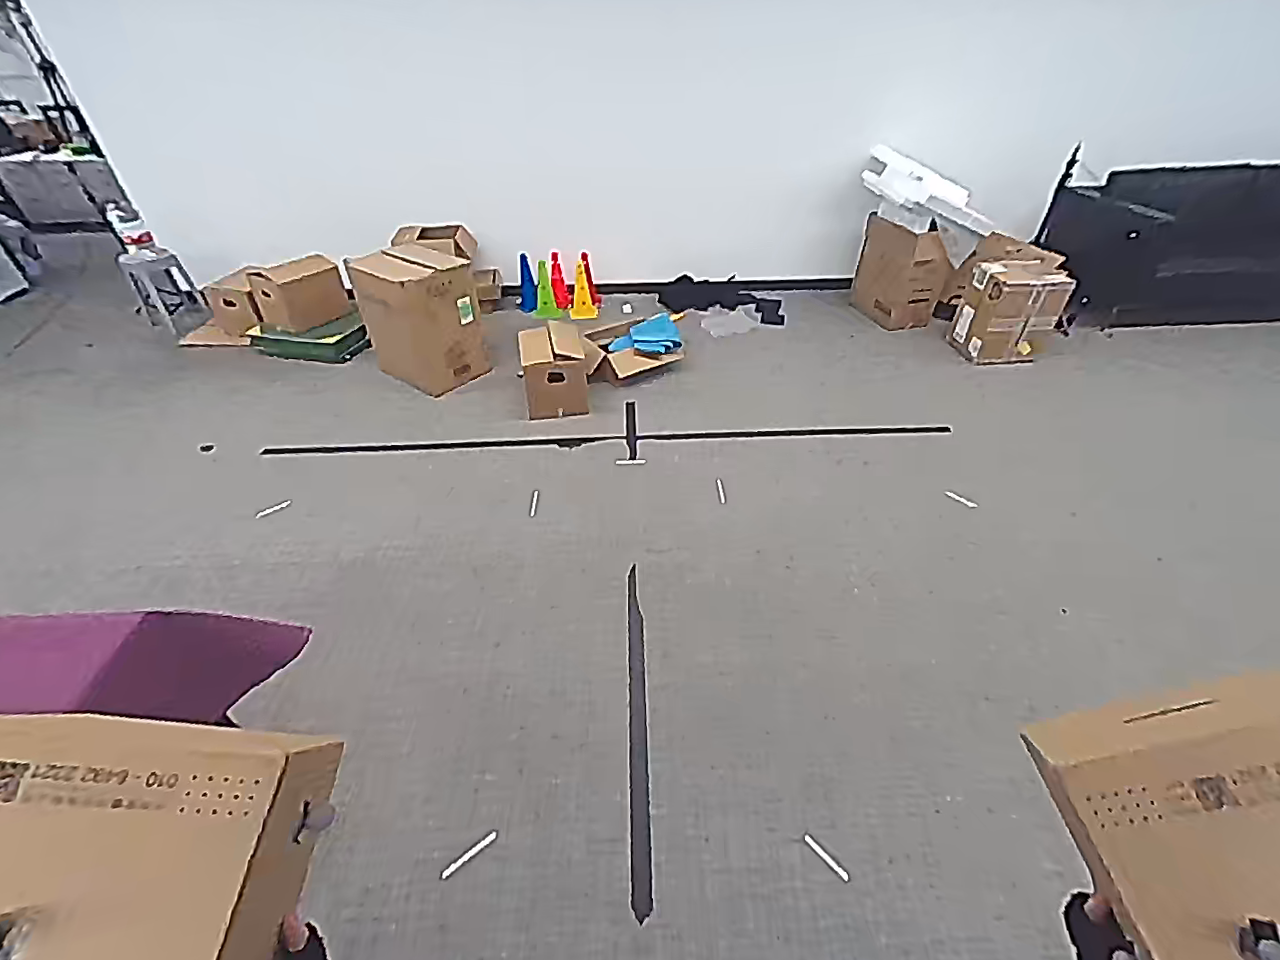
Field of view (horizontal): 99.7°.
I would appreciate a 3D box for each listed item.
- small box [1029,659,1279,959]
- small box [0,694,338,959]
[{"bbox_3d":[0.356,0.207,0.304,0.168,0.179,0.176,-25,65,22],"label":"small box"},{"bbox_3d":[-0.280,0.207,0.275,0.168,0.179,0.176,13,63,-13],"label":"small box"}]
